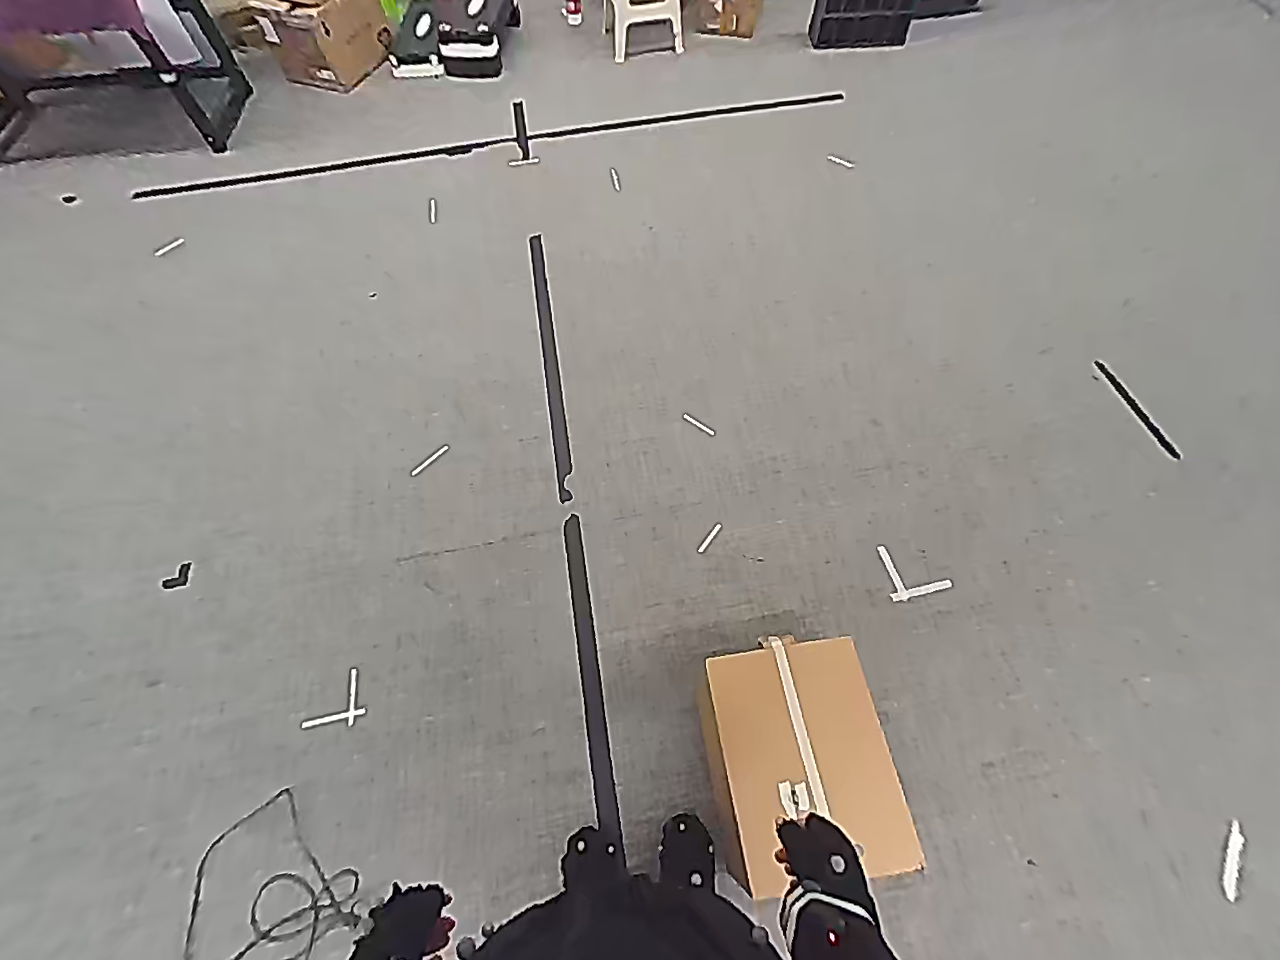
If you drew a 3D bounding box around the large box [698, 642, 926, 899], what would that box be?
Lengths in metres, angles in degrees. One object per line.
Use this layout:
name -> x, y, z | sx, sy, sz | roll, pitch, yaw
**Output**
large box -> 0.325, 0.600, 1.162 | 0.320, 0.320, 0.408 | -7, 62, -3
